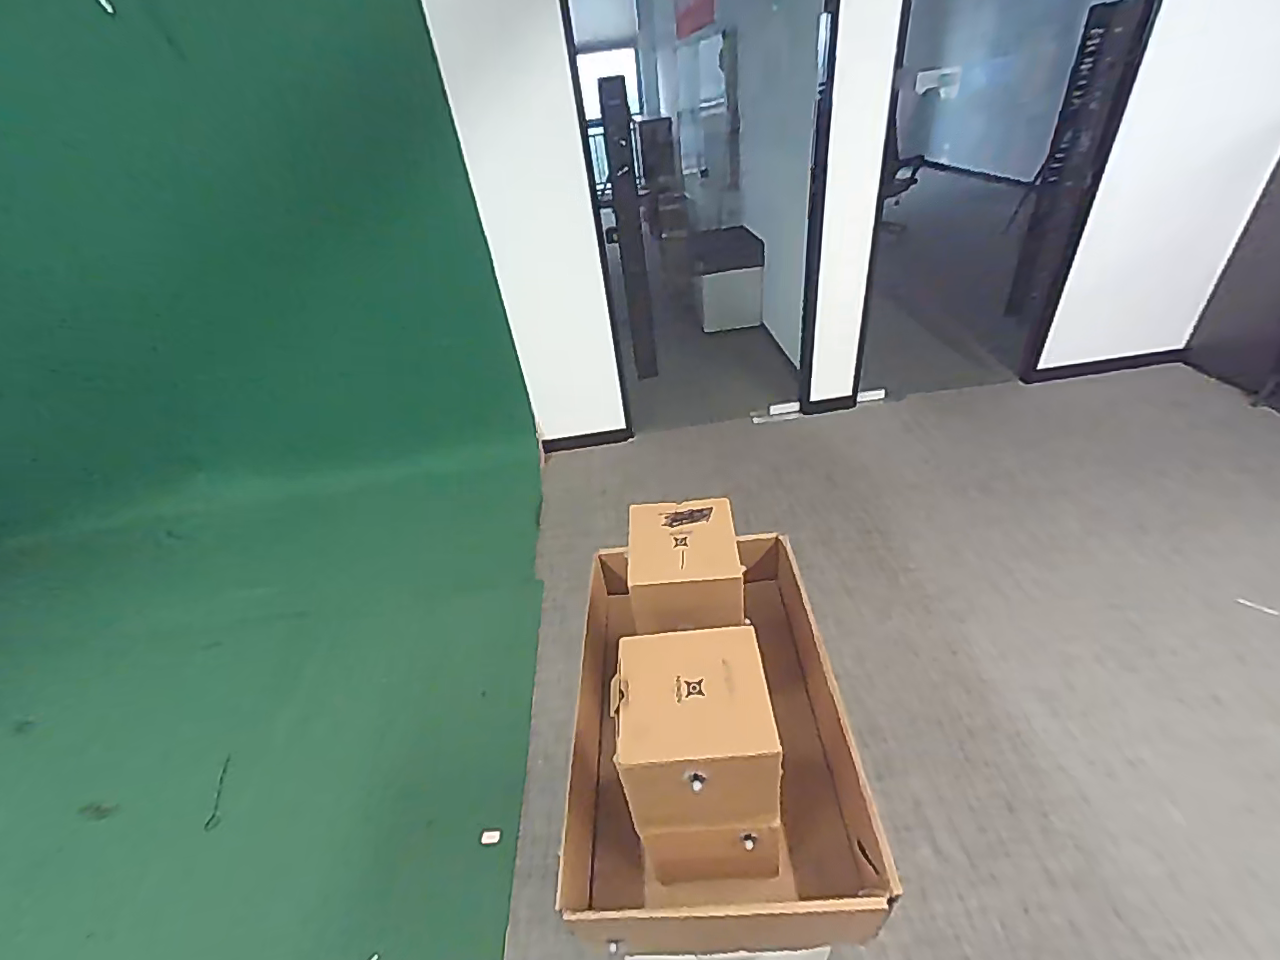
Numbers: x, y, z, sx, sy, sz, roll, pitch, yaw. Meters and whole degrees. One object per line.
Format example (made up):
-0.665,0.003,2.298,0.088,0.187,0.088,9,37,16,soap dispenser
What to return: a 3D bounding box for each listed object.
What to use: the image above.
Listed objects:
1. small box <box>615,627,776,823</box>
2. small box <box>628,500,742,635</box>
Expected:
0.068,0.310,0.683,0.179,0.176,0.168,-5,37,3,small box
0.073,0.154,0.884,0.168,0.176,0.179,-4,39,5,small box
